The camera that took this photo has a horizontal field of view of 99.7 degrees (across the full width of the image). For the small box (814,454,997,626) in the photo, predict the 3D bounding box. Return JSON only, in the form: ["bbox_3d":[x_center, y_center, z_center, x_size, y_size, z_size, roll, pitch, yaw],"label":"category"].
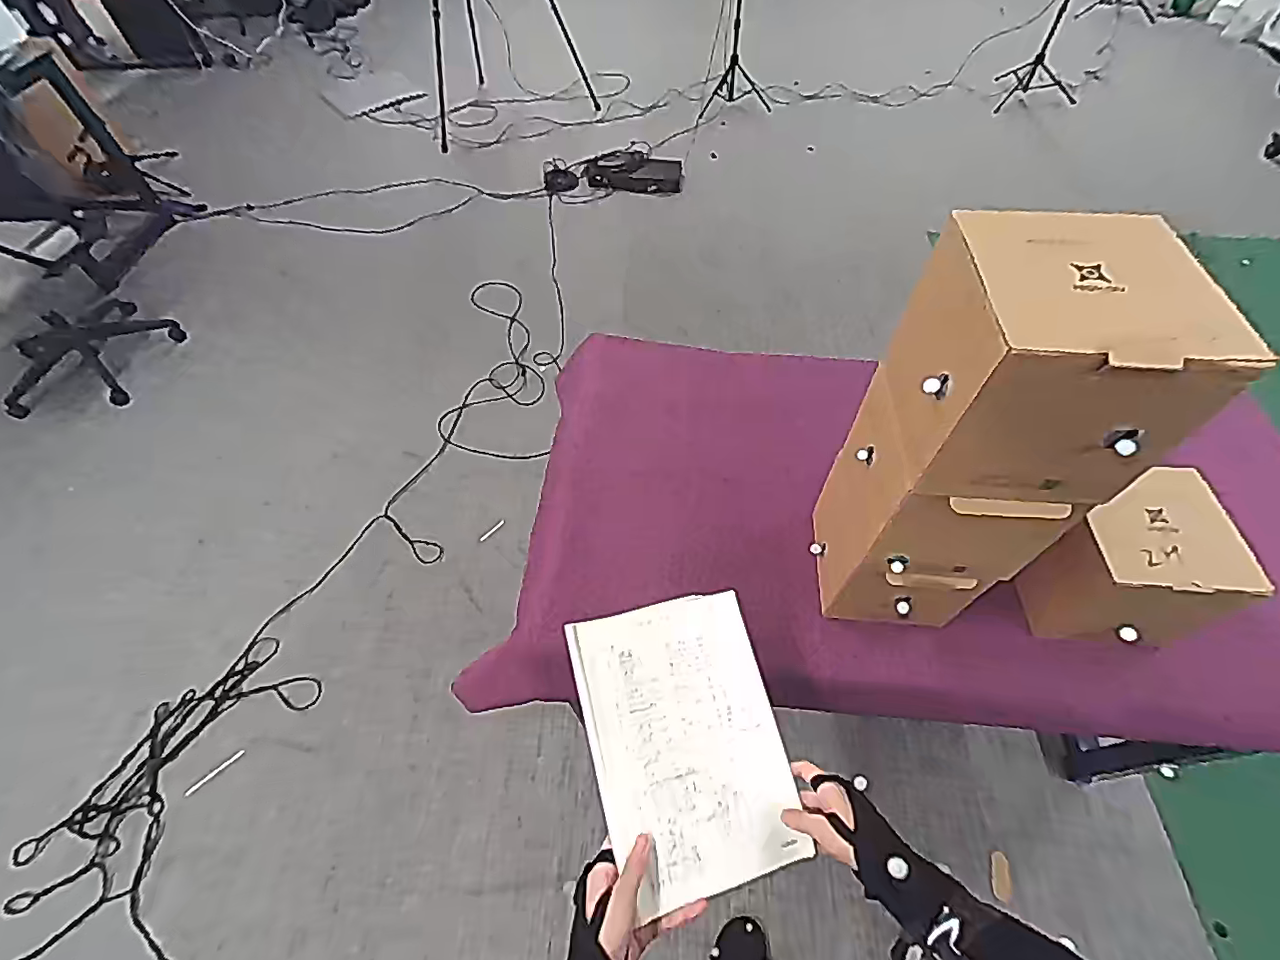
[{"bbox_3d":[0.342,0.086,0.737,0.168,0.176,0.179,4,55,5],"label":"small box"}]

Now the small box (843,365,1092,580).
[{"bbox_3d":[0.336,-0.004,0.599,0.168,0.176,0.179,4,54,5],"label":"small box"}]

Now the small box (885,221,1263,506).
[{"bbox_3d":[0.329,-0.094,0.464,0.168,0.176,0.179,5,54,5],"label":"small box"}]
